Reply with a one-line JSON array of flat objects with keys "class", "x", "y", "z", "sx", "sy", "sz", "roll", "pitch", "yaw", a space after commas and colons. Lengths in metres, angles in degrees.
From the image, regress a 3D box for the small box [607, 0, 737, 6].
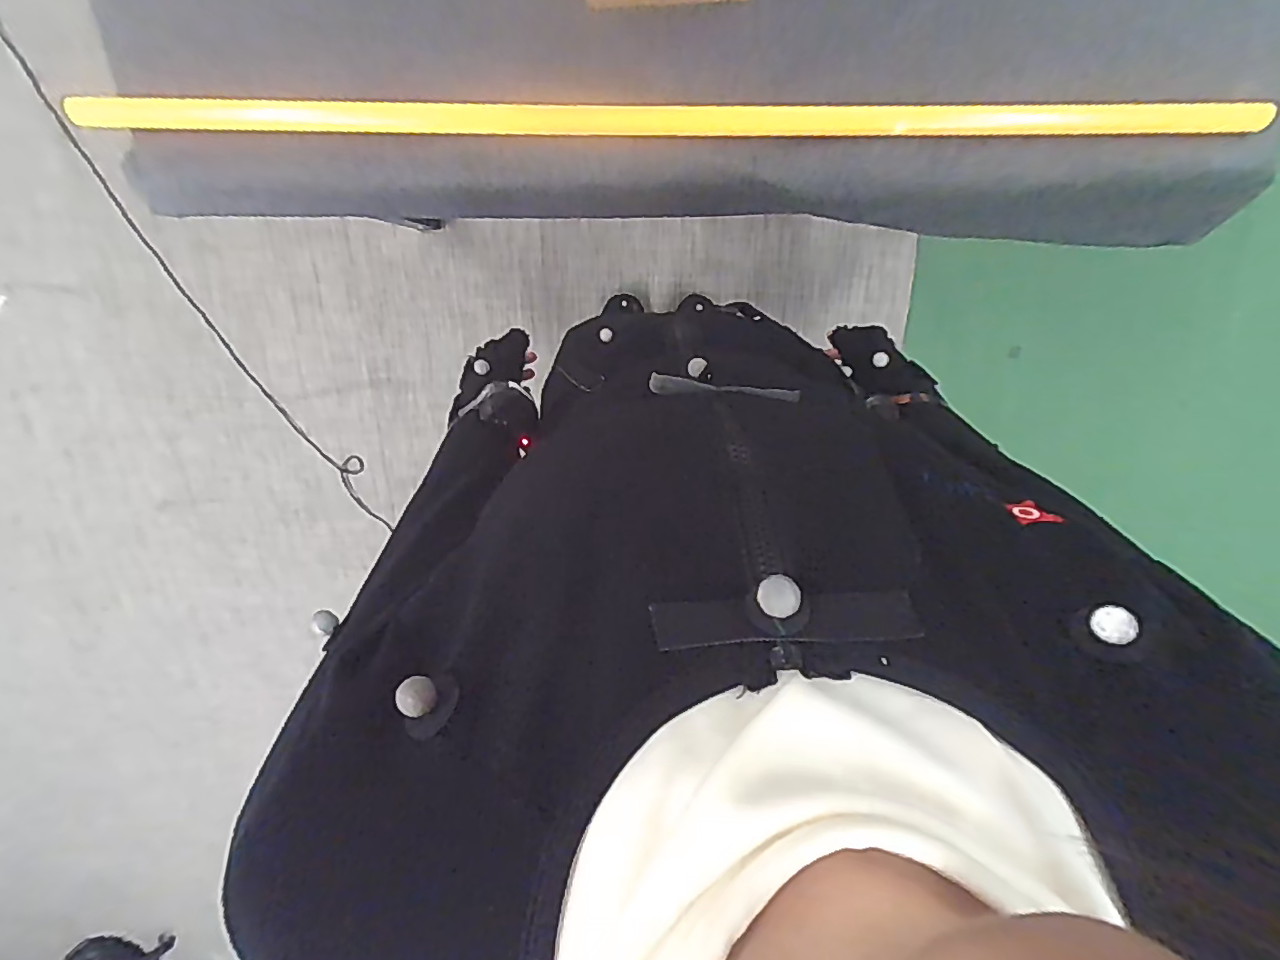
[{"class": "small box", "x": 0.032, "y": -0.525, "z": 0.426, "sx": 0.168, "sy": 0.176, "sz": 0.179, "roll": -2, "pitch": 109, "yaw": 1}]
